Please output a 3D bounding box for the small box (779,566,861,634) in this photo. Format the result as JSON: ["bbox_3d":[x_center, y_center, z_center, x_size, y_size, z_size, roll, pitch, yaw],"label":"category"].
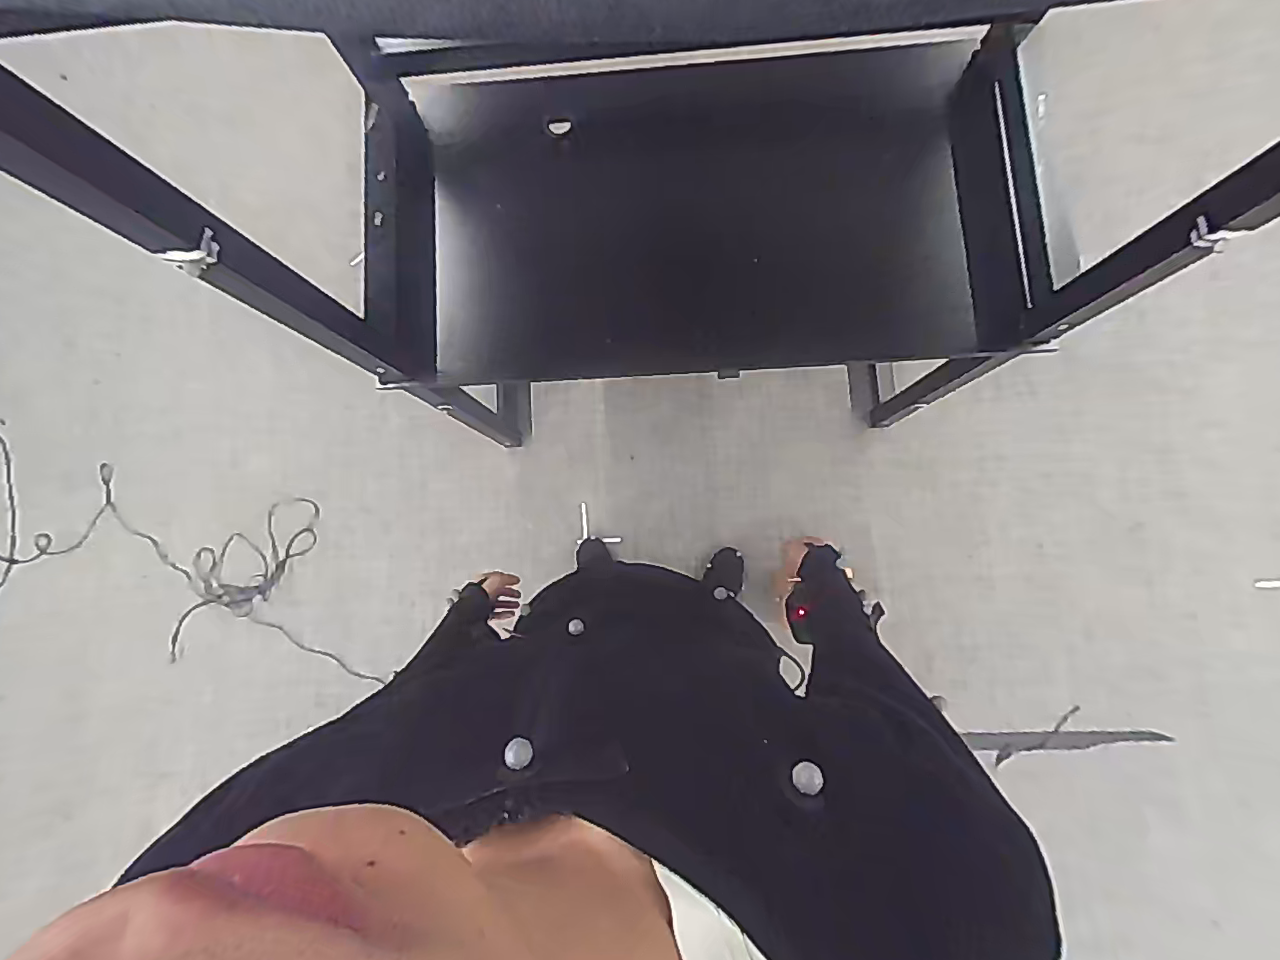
[{"bbox_3d":[0.500,0.333,1.520,0.179,0.176,0.168,-5,83,4],"label":"small box"}]
